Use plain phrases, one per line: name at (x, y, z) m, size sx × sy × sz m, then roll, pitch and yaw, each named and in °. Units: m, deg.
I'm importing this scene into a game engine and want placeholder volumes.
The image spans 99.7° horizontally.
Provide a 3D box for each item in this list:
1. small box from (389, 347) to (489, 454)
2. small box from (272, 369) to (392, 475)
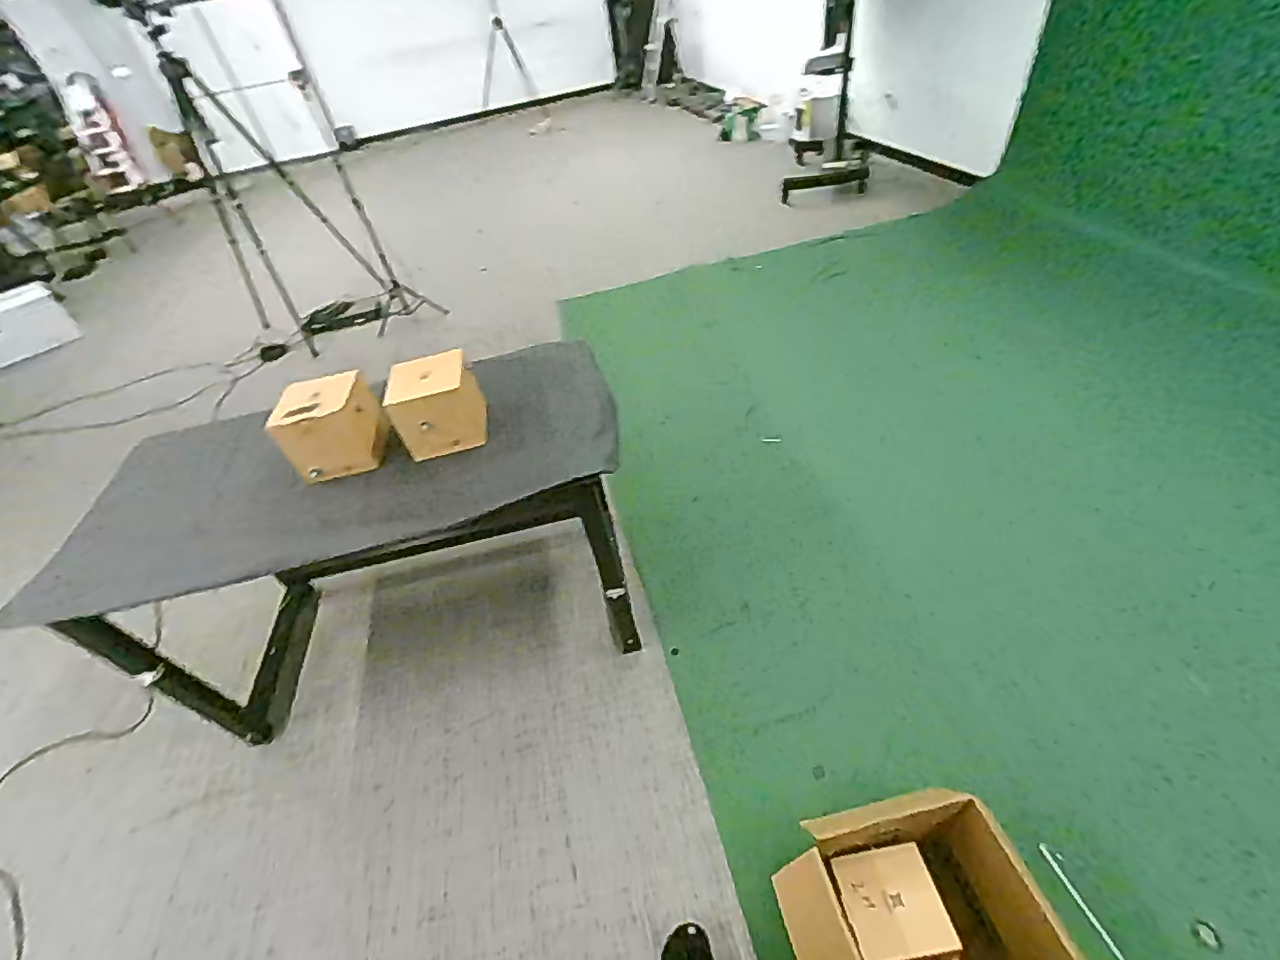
small box at (-0.459, -0.178, 1.260) m, size 0.168 × 0.176 × 0.179 m, roll -15°, pitch 43°, yaw -3°
small box at (-0.702, -0.129, 1.258) m, size 0.168 × 0.176 × 0.179 m, roll -13°, pitch 43°, yaw -2°
